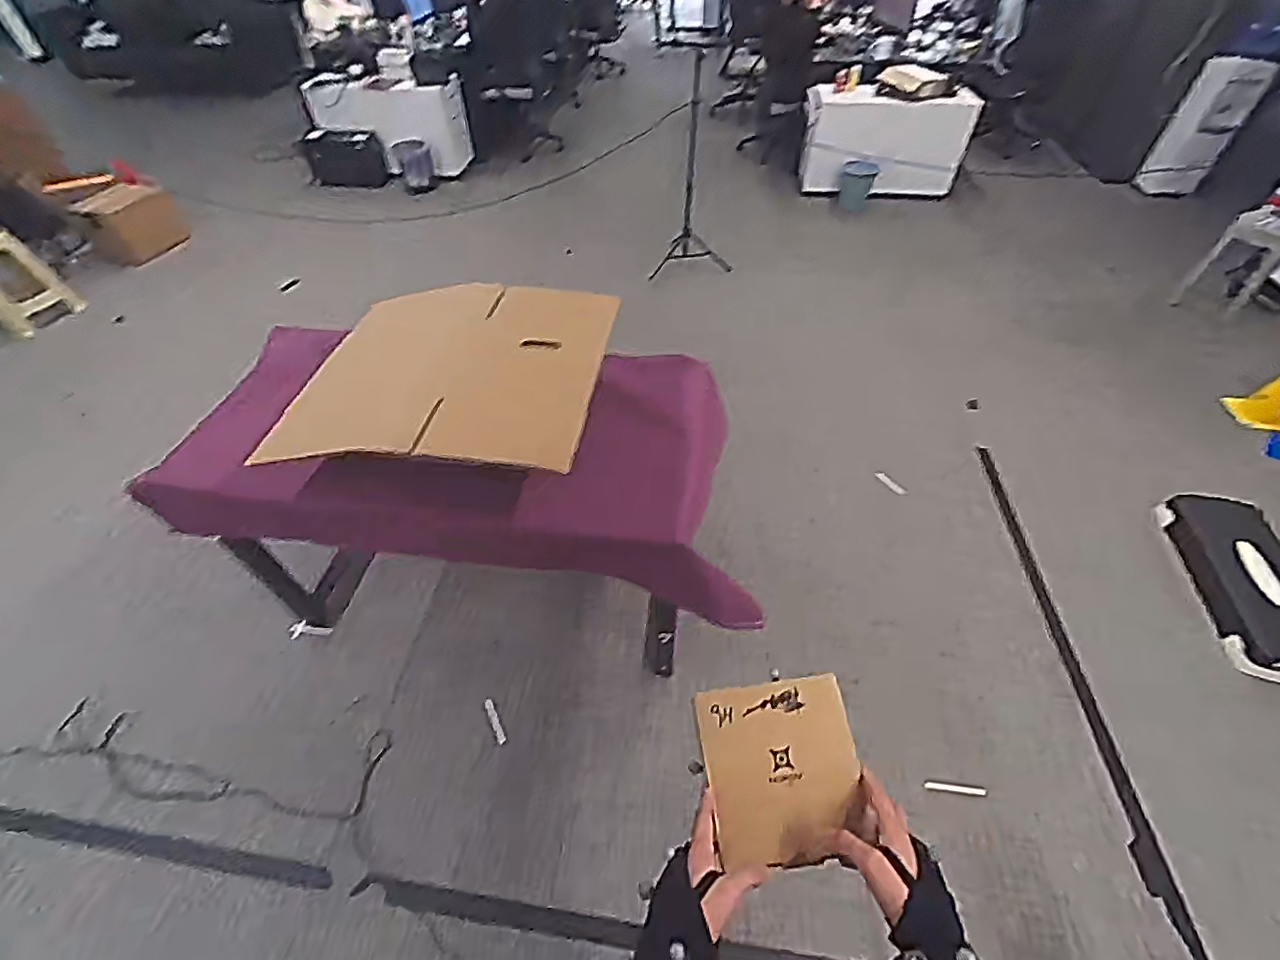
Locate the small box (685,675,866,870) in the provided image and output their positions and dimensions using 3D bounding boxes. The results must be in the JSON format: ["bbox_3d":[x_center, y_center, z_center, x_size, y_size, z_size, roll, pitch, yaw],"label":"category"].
[{"bbox_3d":[0.149,0.342,0.663,0.168,0.176,0.179,-8,67,0],"label":"small box"}]
